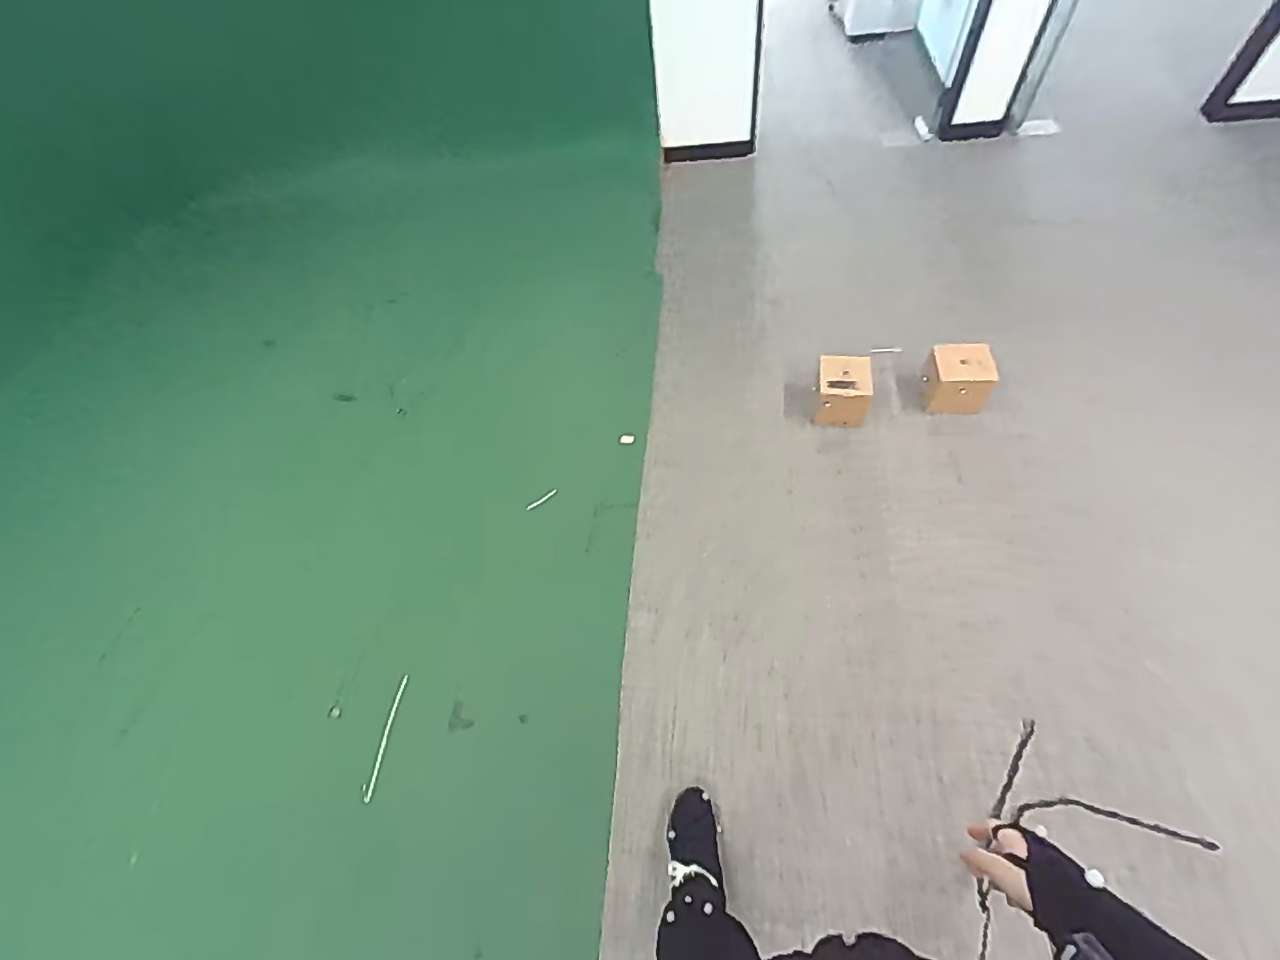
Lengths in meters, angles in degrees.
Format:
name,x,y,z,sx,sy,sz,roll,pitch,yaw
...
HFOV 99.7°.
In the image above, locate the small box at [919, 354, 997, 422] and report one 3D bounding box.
name,x,y,z,sx,sy,sz,roll,pitch,yaw
small box,1.075,-0.313,1.850,0.179,0.176,0.168,2,58,8
